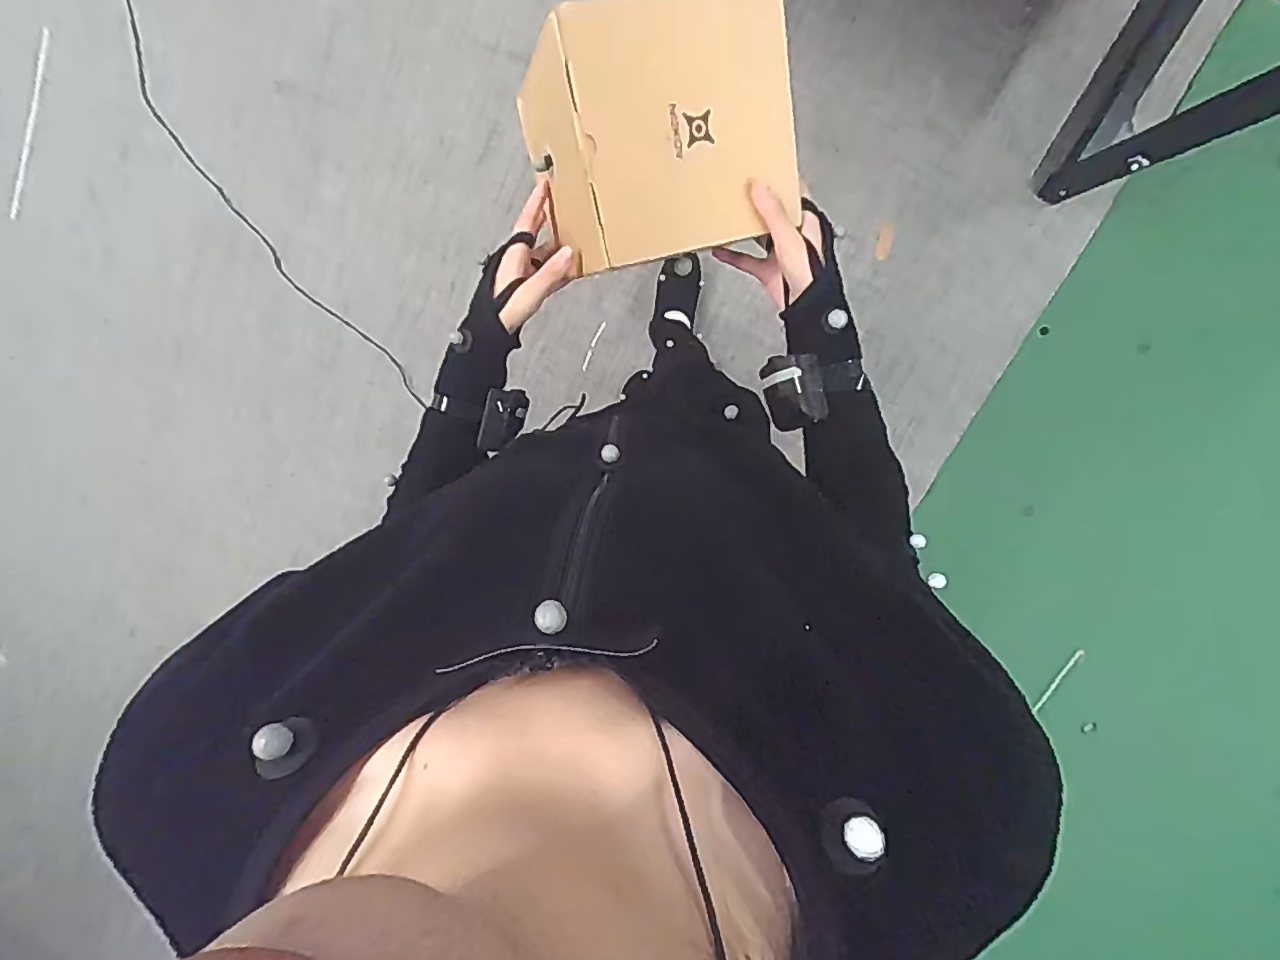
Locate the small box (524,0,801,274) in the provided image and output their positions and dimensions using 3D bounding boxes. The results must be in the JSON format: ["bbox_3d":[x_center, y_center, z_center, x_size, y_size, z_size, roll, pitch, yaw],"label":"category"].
[{"bbox_3d":[0.013,-0.283,0.471,0.179,0.176,0.168,-18,112,-13],"label":"small box"}]
